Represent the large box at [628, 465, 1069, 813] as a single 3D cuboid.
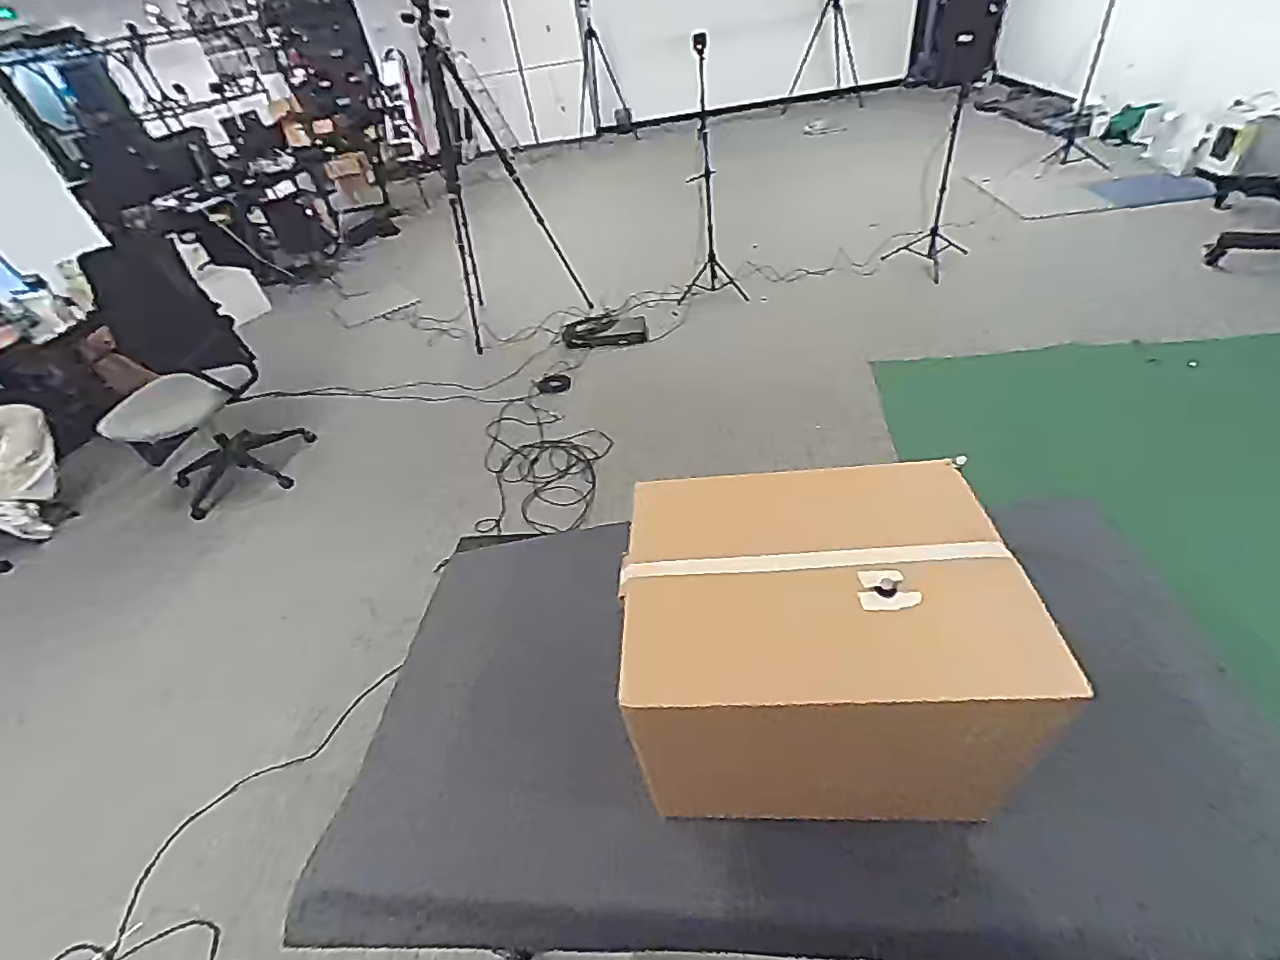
[{"bbox_3d":[0.207,0.208,0.702,0.408,0.320,0.320,-4,42,7],"label":"large box"}]
